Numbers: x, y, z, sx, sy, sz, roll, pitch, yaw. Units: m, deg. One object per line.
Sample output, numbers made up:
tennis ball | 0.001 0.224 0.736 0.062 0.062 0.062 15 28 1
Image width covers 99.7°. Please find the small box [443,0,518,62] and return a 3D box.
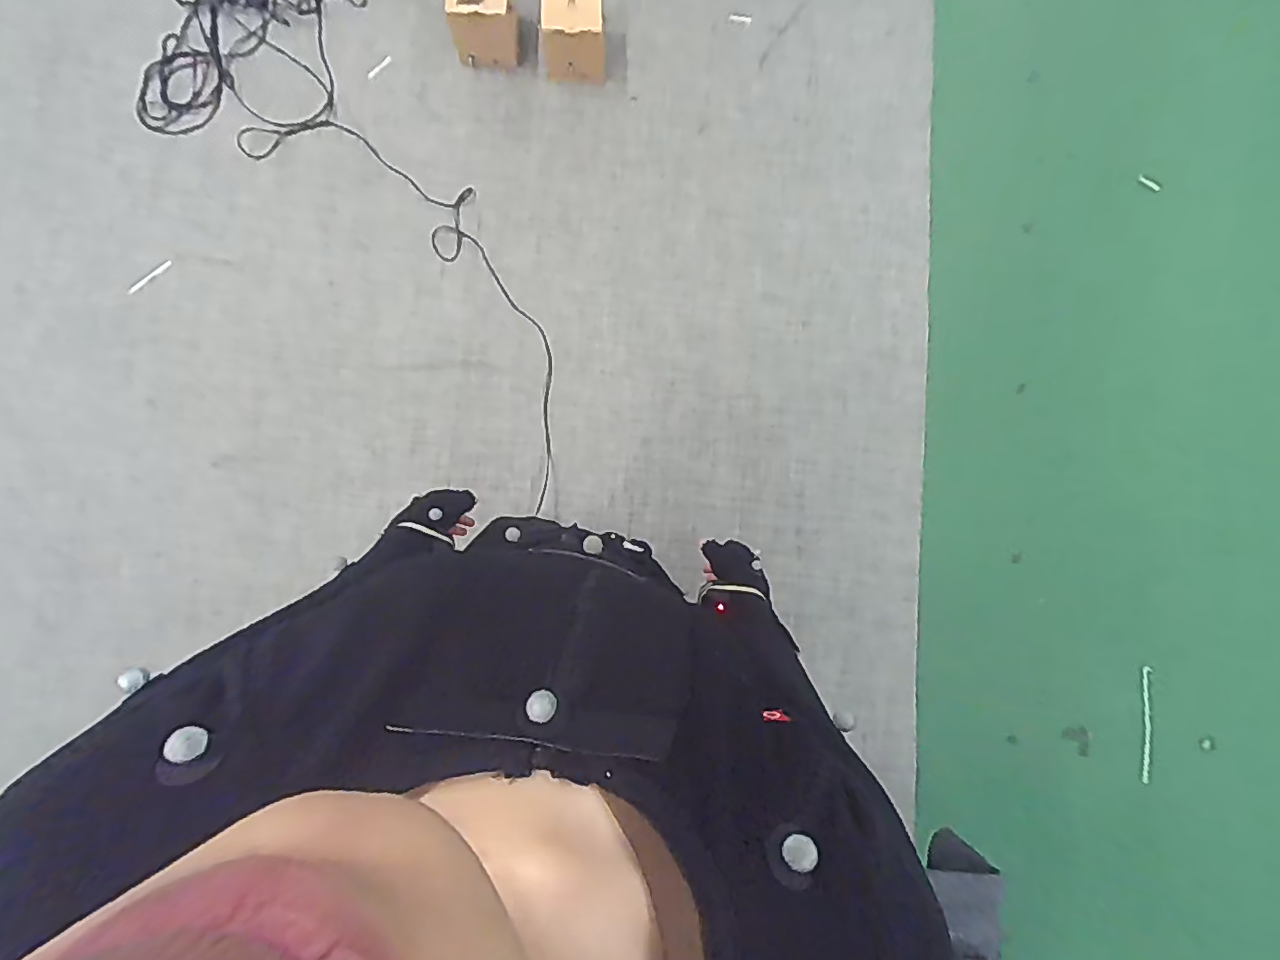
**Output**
small box | -0.442 -1.322 1.517 0.168 0.176 0.179 2 84 -3

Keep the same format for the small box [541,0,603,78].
small box | -0.189 -1.286 1.528 0.168 0.176 0.179 -1 86 -3
